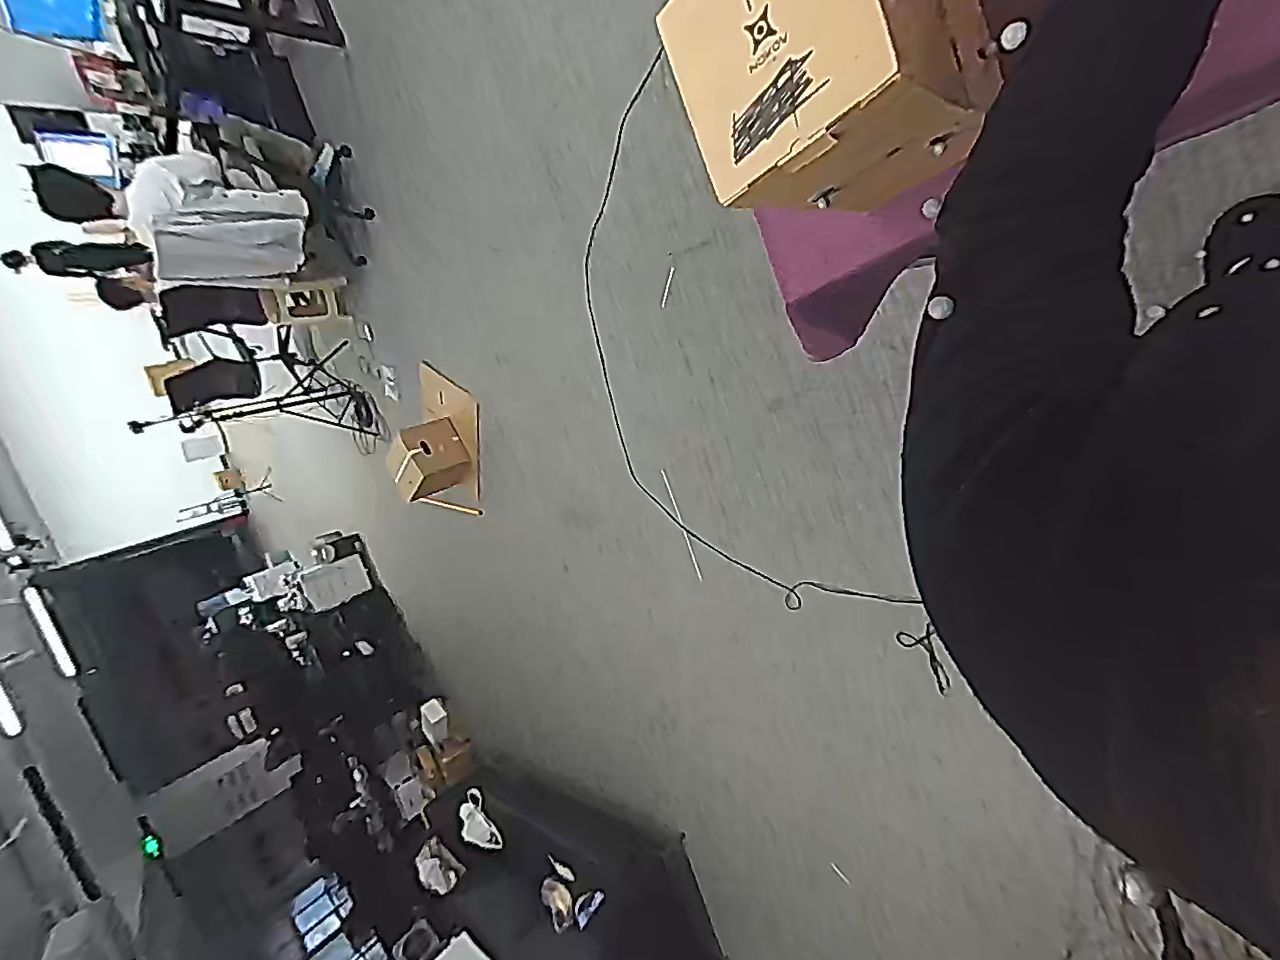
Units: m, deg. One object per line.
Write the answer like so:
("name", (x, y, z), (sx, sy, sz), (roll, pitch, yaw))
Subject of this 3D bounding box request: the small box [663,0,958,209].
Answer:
("small box", (0.156, -0.367, 0.482), (0.168, 0.176, 0.179), (-16, 95, 47))

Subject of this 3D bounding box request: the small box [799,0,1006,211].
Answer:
("small box", (0.266, -0.416, 0.593), (0.179, 0.176, 0.168), (-16, 96, 46))
